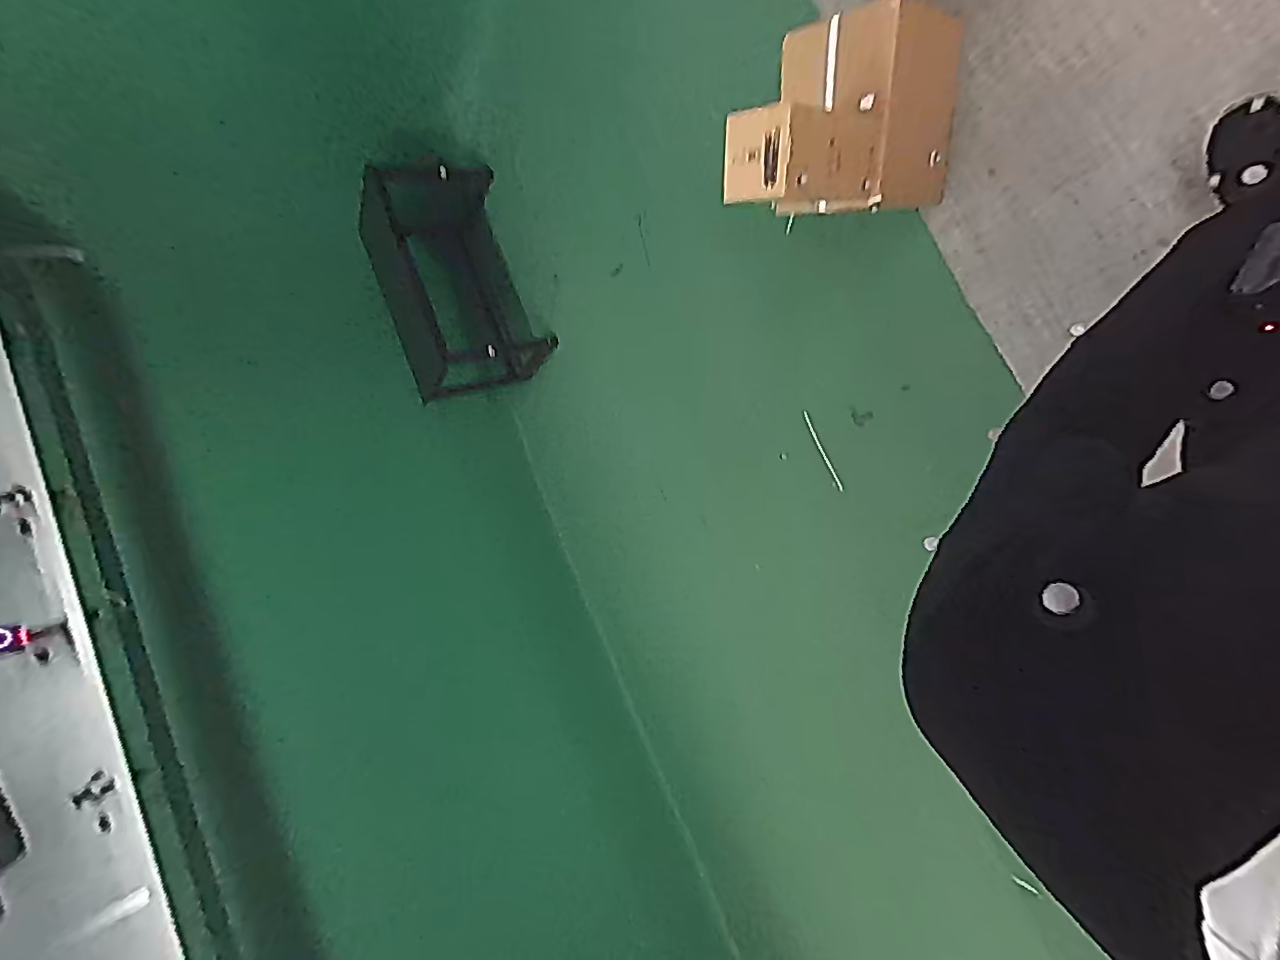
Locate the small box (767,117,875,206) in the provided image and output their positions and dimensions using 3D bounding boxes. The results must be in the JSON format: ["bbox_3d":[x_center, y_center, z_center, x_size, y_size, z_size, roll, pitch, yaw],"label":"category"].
[{"bbox_3d":[0.427,-0.746,1.281,0.179,0.176,0.168,28,126,46],"label":"small box"}]
